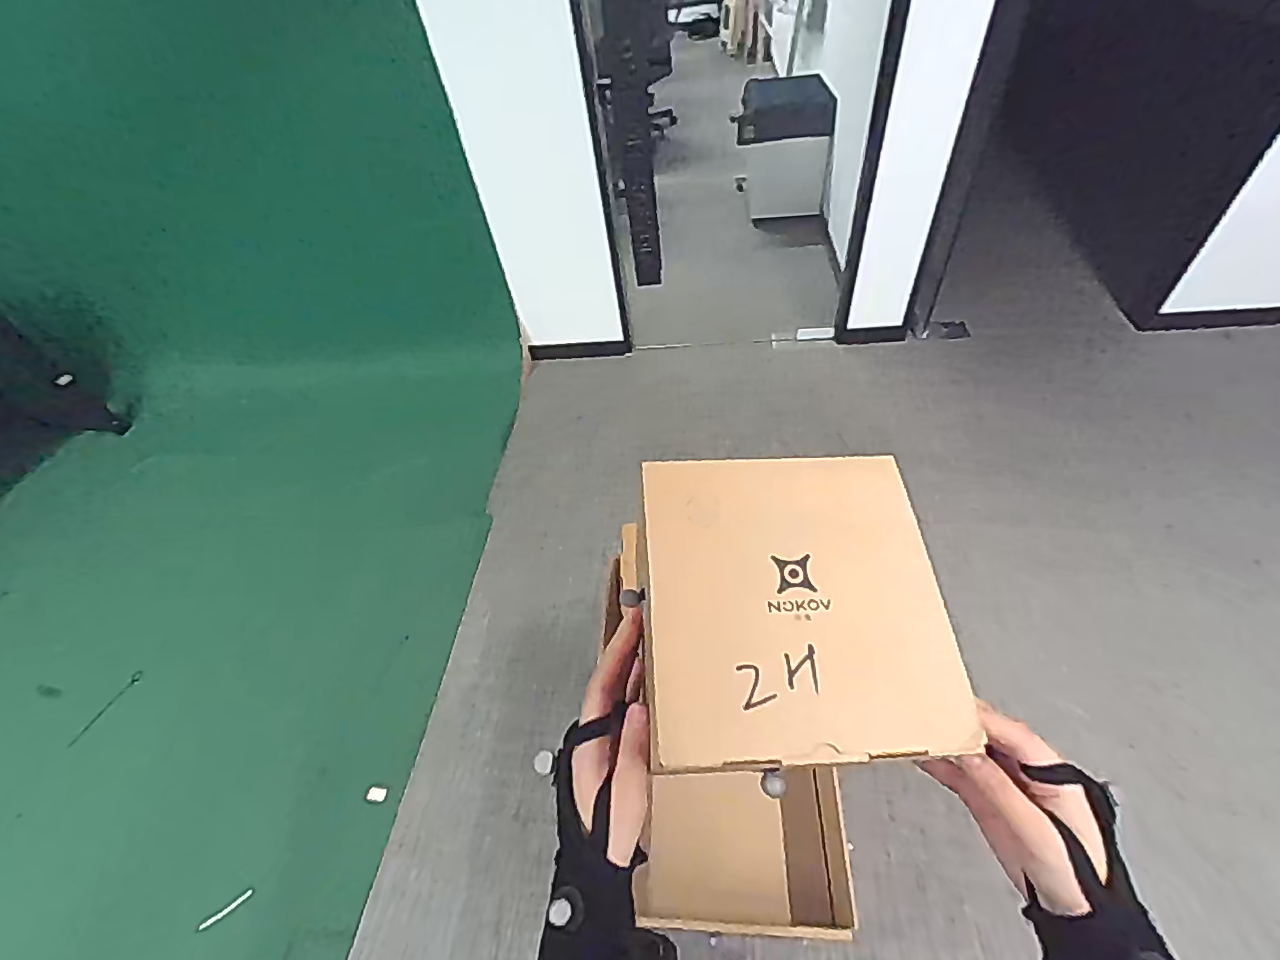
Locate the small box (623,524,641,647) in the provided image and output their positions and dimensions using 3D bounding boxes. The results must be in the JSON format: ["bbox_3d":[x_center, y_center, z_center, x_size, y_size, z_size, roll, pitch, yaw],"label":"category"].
[{"bbox_3d":[0.069,0.188,0.955,0.179,0.176,0.168,-6,49,5],"label":"small box"}]

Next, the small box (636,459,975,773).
[{"bbox_3d":[0.083,0.102,0.379,0.168,0.176,0.179,-2,61,-2],"label":"small box"}]
